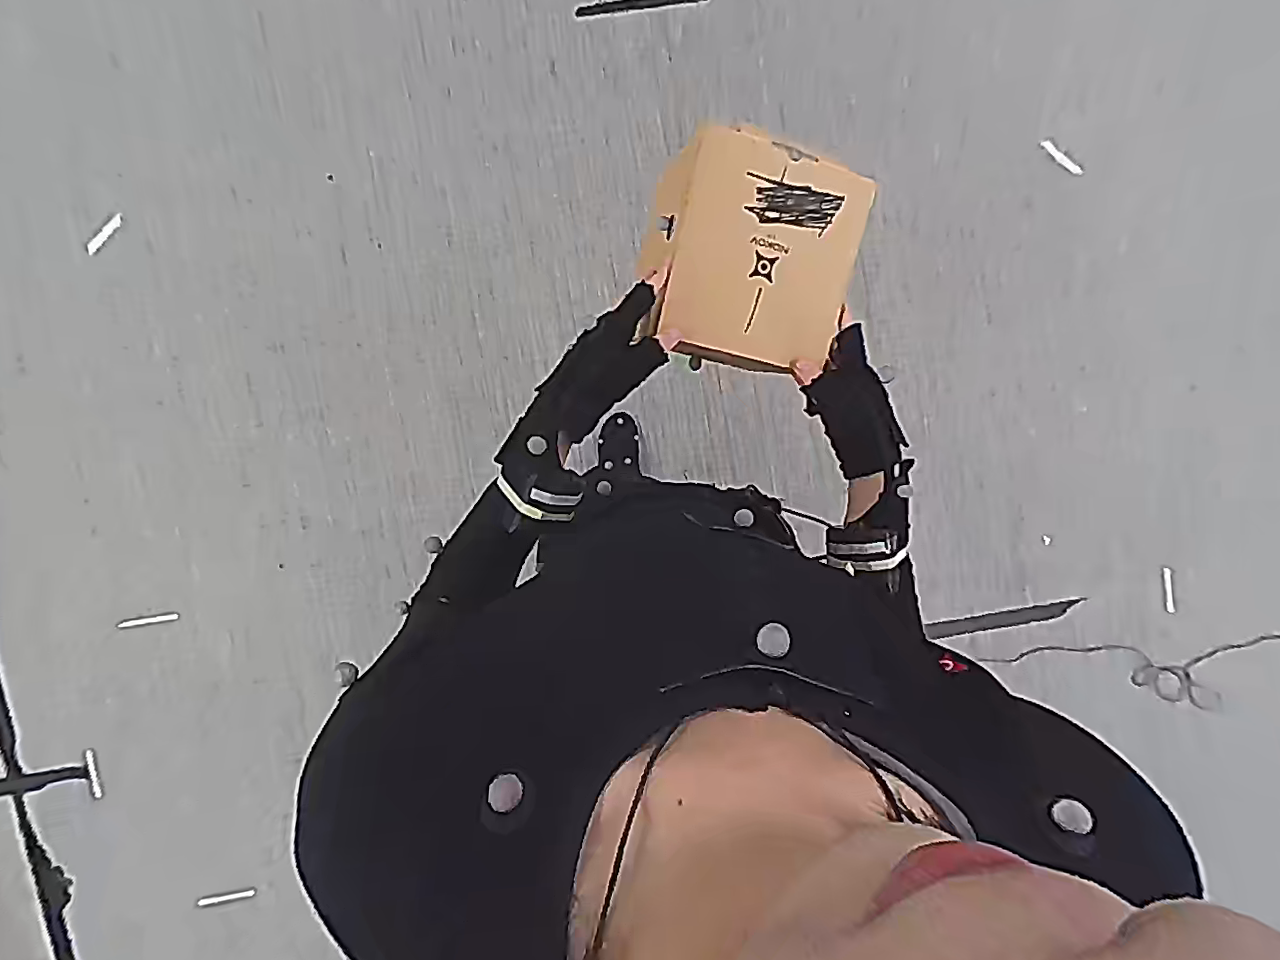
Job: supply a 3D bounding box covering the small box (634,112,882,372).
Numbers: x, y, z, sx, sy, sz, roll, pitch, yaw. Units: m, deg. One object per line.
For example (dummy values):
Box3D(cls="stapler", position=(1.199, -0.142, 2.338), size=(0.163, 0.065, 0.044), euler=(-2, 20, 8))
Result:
Box3D(cls="small box", position=(0.099, -0.216, 0.542), size=(0.168, 0.176, 0.179), euler=(11, 102, -14))
